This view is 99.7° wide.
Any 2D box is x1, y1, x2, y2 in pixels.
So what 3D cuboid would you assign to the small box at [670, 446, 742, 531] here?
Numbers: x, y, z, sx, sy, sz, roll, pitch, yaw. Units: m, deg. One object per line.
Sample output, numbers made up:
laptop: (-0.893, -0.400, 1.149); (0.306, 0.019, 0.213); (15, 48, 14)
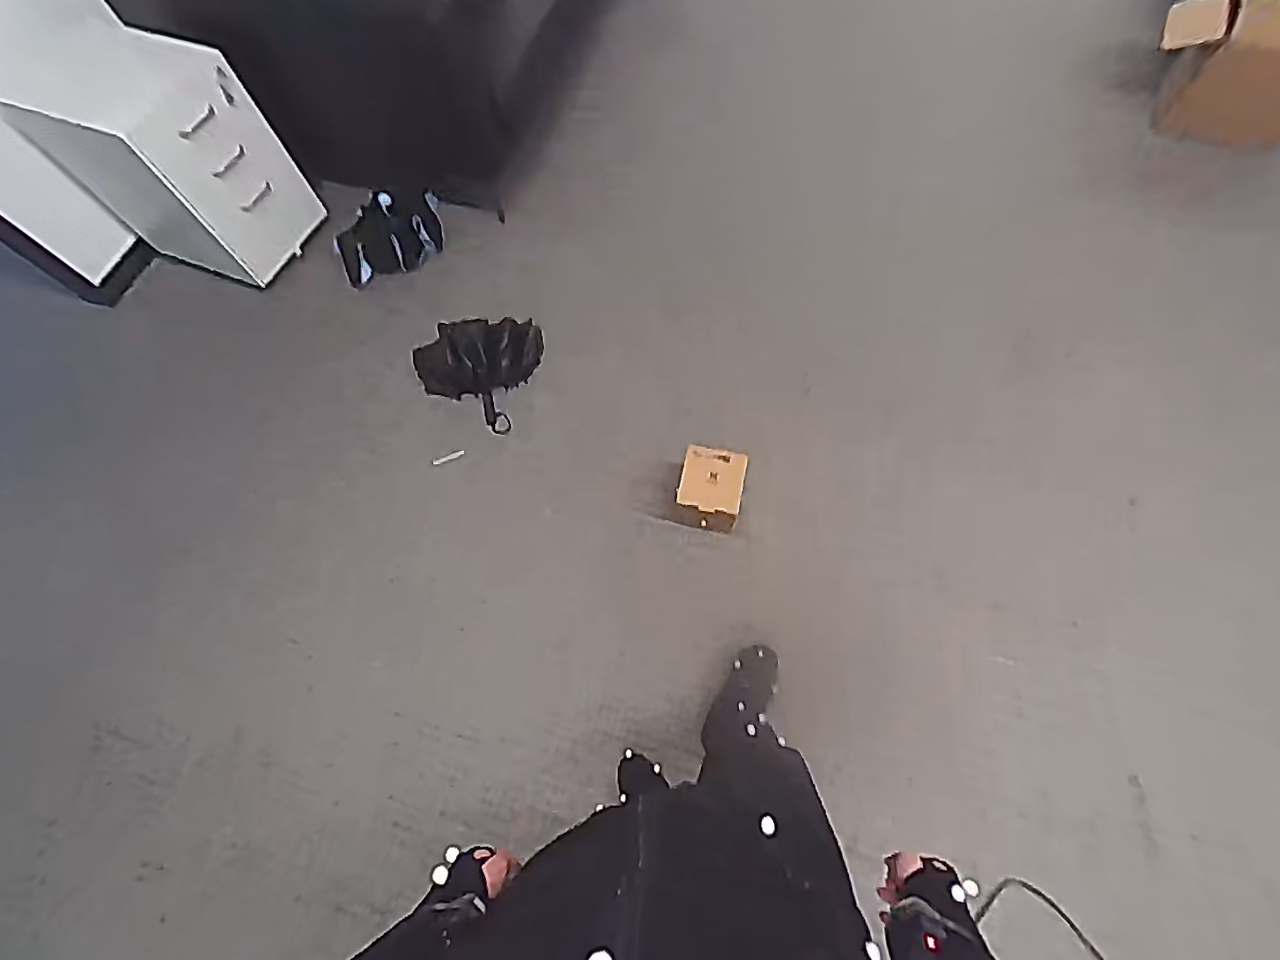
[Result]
small box: (0.183, 0.030, 1.519); (0.168, 0.176, 0.179); (11, 69, 7)
